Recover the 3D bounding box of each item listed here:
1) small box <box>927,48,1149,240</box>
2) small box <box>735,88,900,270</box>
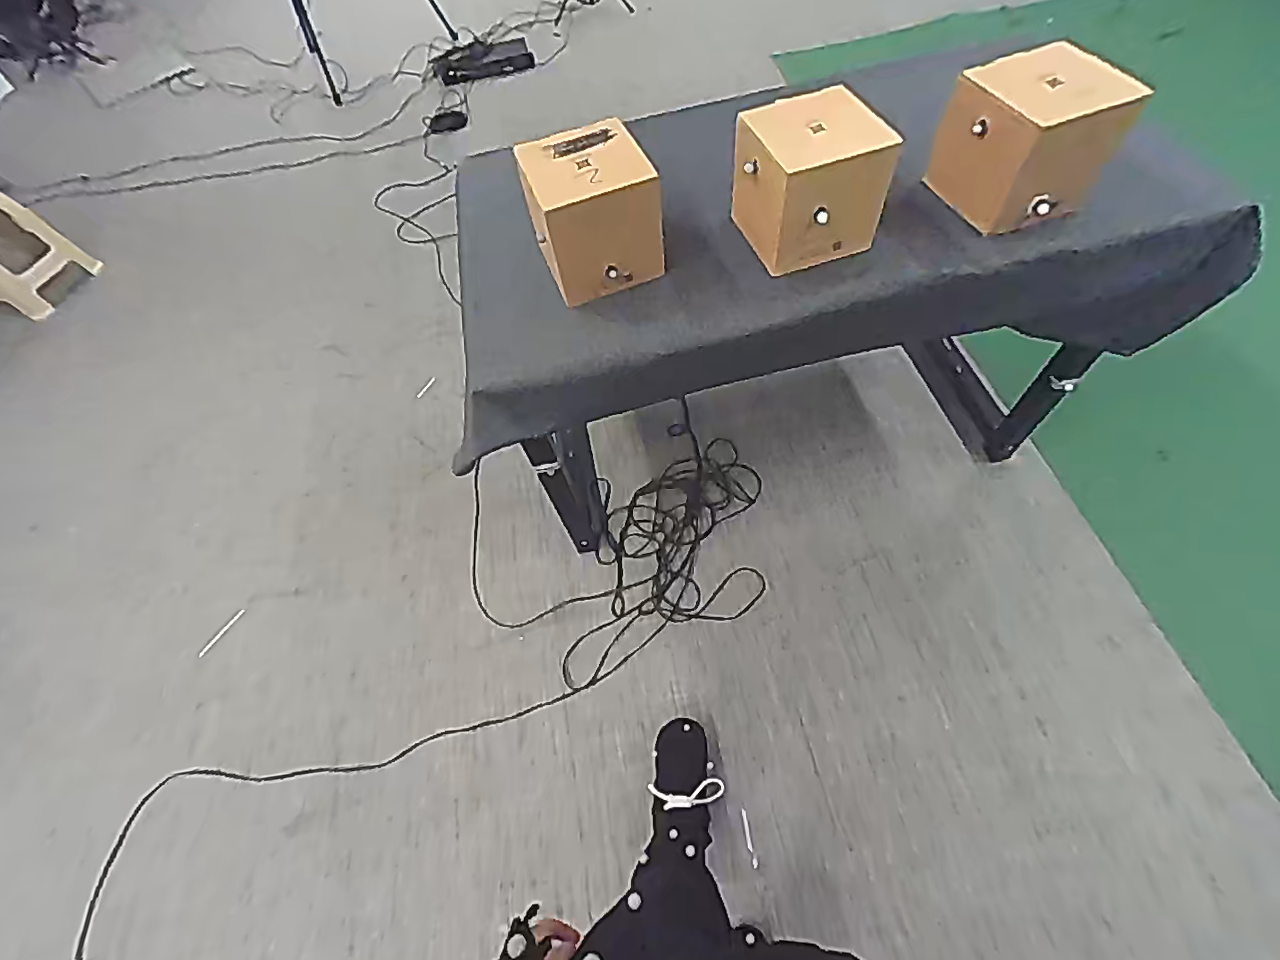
[{"bbox_3d":[0.572,-0.499,0.812,0.168,0.176,0.179,-19,60,-4],"label":"small box"},{"bbox_3d":[0.251,-0.441,0.814,0.168,0.176,0.179,-17,59,-4],"label":"small box"}]
